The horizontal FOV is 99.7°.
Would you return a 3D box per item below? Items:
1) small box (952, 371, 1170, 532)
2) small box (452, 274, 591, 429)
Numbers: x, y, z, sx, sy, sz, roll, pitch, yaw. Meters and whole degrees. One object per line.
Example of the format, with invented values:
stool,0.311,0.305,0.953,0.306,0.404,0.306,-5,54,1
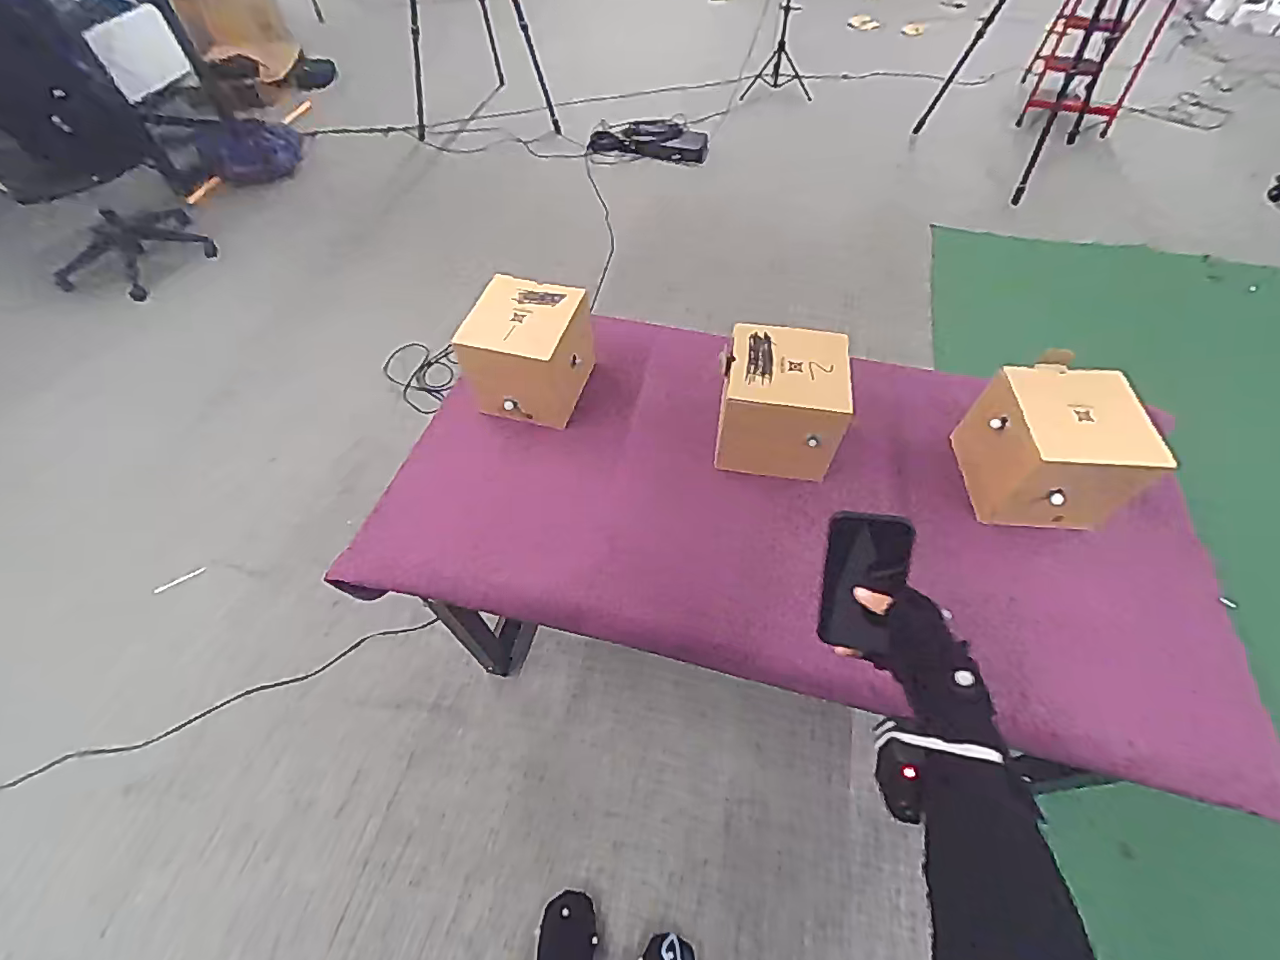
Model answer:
small box,0.595,-0.038,0.796,0.168,0.176,0.179,3,55,4
small box,-0.189,-0.217,0.925,0.168,0.176,0.179,13,58,9
